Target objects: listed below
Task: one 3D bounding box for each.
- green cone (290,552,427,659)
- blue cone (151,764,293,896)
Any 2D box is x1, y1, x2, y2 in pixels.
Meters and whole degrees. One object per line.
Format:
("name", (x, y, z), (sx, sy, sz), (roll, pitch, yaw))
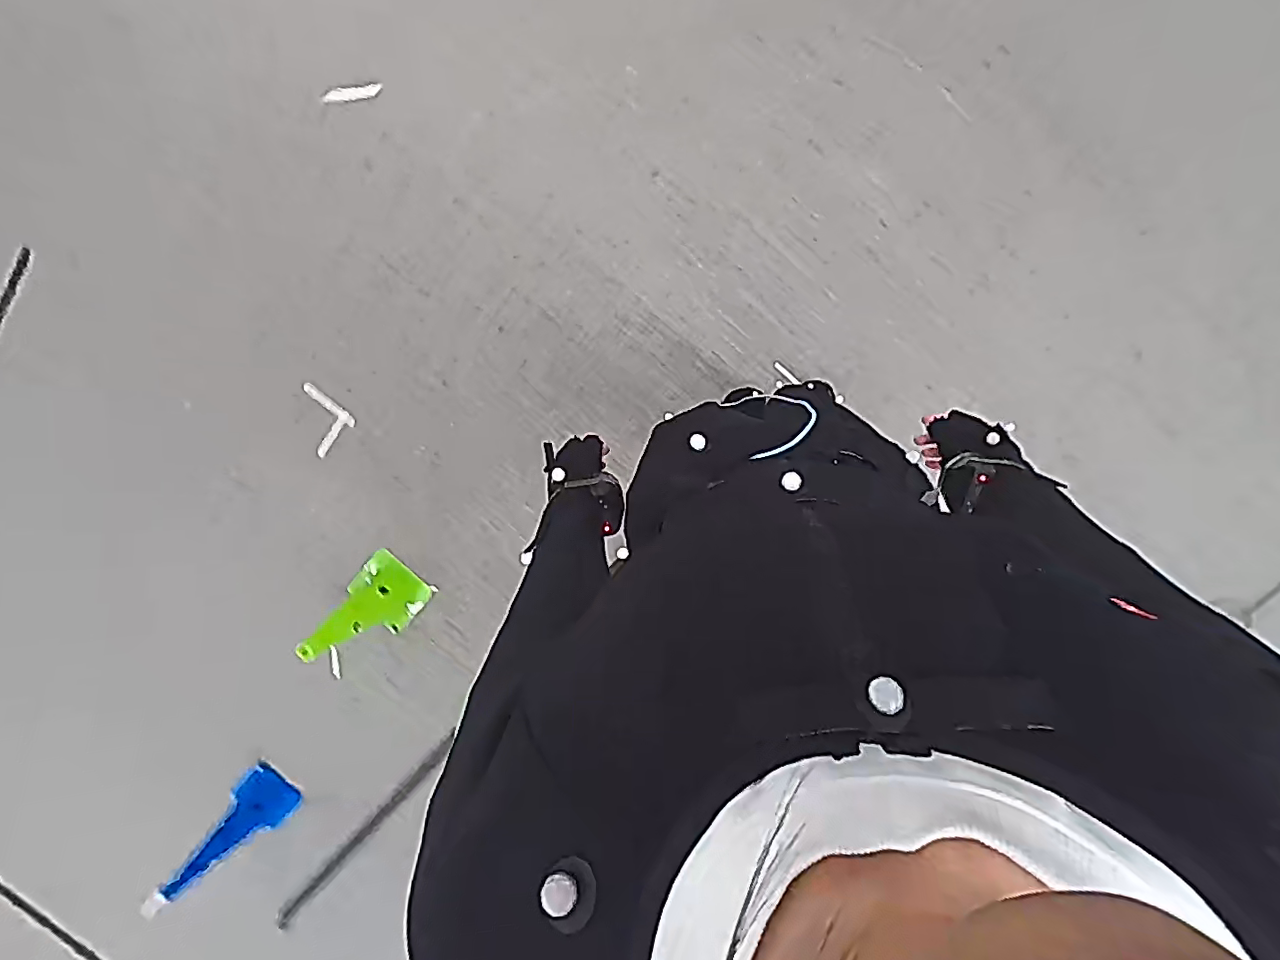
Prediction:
("green cone", (-0.773, 0.368, 1.435), (0.202, 0.368, 0.200), (42, 103, -2))
("blue cone", (-1.292, 1.094, 1.657), (0.193, 0.380, 0.192), (-43, 93, 12))
